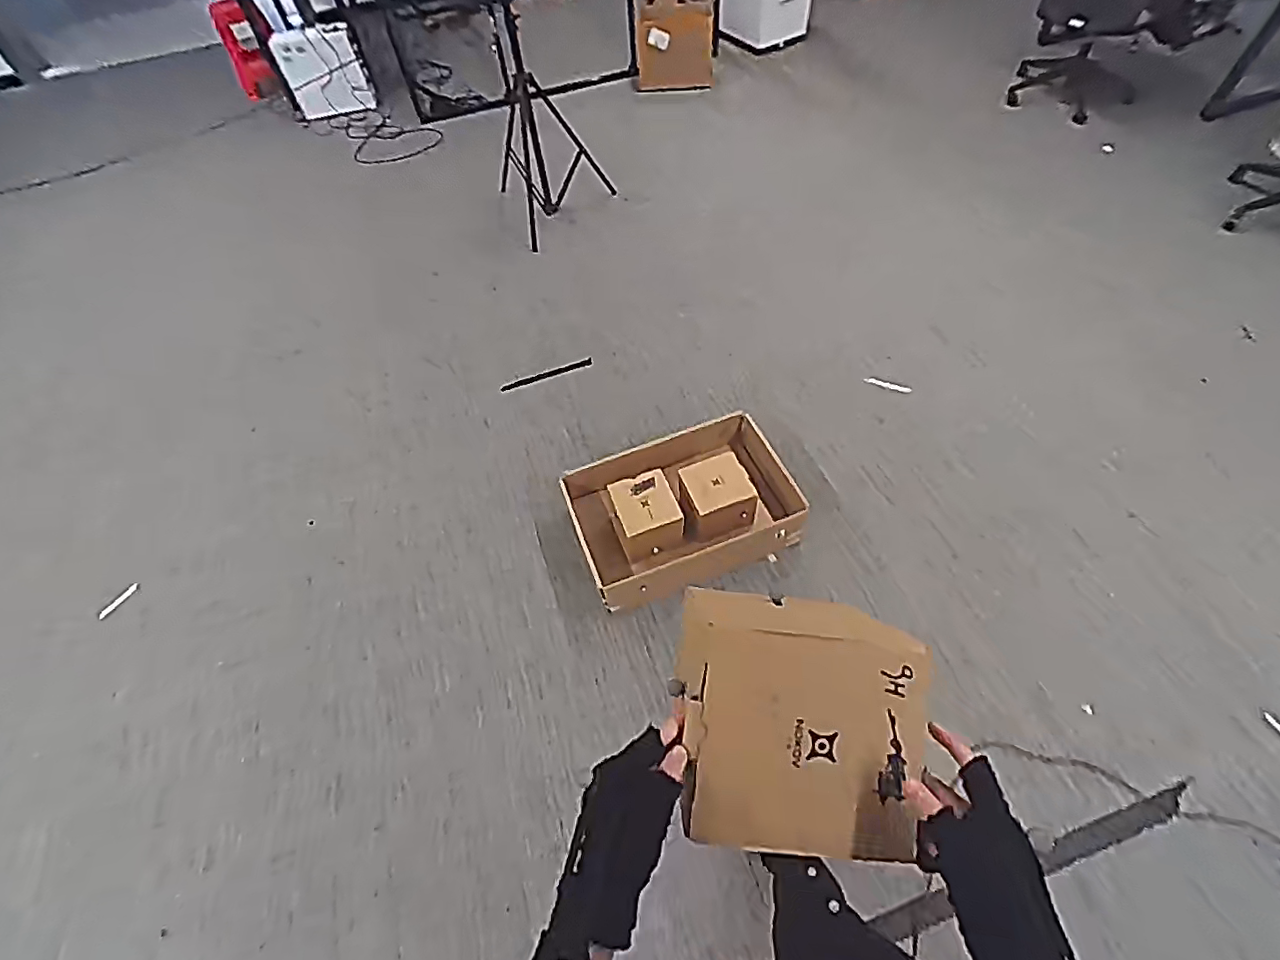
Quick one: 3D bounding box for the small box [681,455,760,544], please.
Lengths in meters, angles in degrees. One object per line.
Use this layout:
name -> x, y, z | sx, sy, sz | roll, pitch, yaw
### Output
small box -> 0.228, 0.061, 1.576 | 0.179, 0.176, 0.168 | -20, 56, -6
